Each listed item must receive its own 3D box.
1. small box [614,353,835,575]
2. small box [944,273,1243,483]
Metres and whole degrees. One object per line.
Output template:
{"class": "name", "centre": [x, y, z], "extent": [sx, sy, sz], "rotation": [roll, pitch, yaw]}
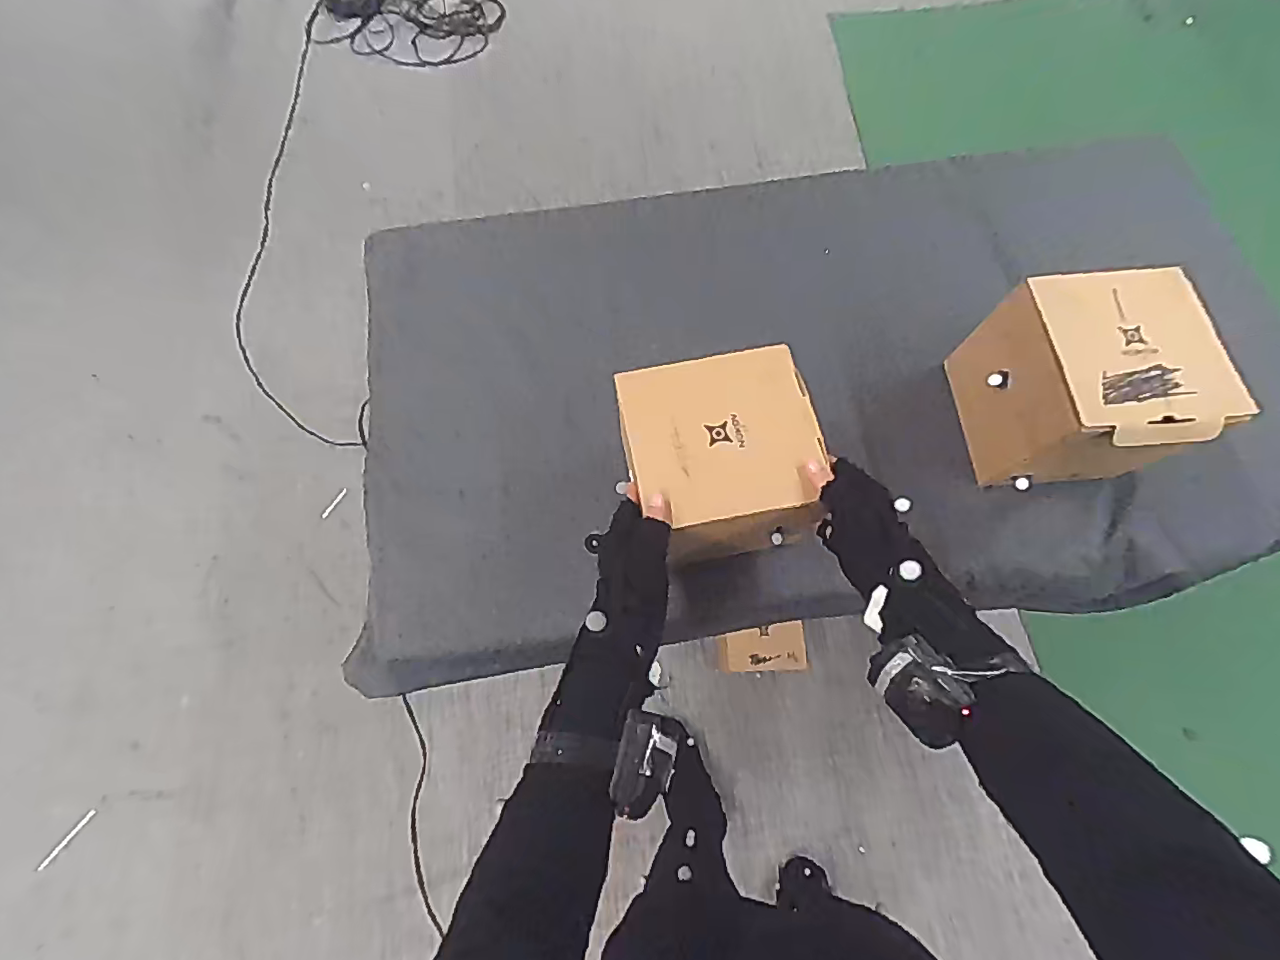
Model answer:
{"class": "small box", "centre": [0.077, -0.007, 0.577], "extent": [0.179, 0.176, 0.168], "rotation": [-13, 69, -2]}
{"class": "small box", "centre": [0.480, -0.102, 0.608], "extent": [0.168, 0.176, 0.179], "rotation": [-4, 70, 0]}
